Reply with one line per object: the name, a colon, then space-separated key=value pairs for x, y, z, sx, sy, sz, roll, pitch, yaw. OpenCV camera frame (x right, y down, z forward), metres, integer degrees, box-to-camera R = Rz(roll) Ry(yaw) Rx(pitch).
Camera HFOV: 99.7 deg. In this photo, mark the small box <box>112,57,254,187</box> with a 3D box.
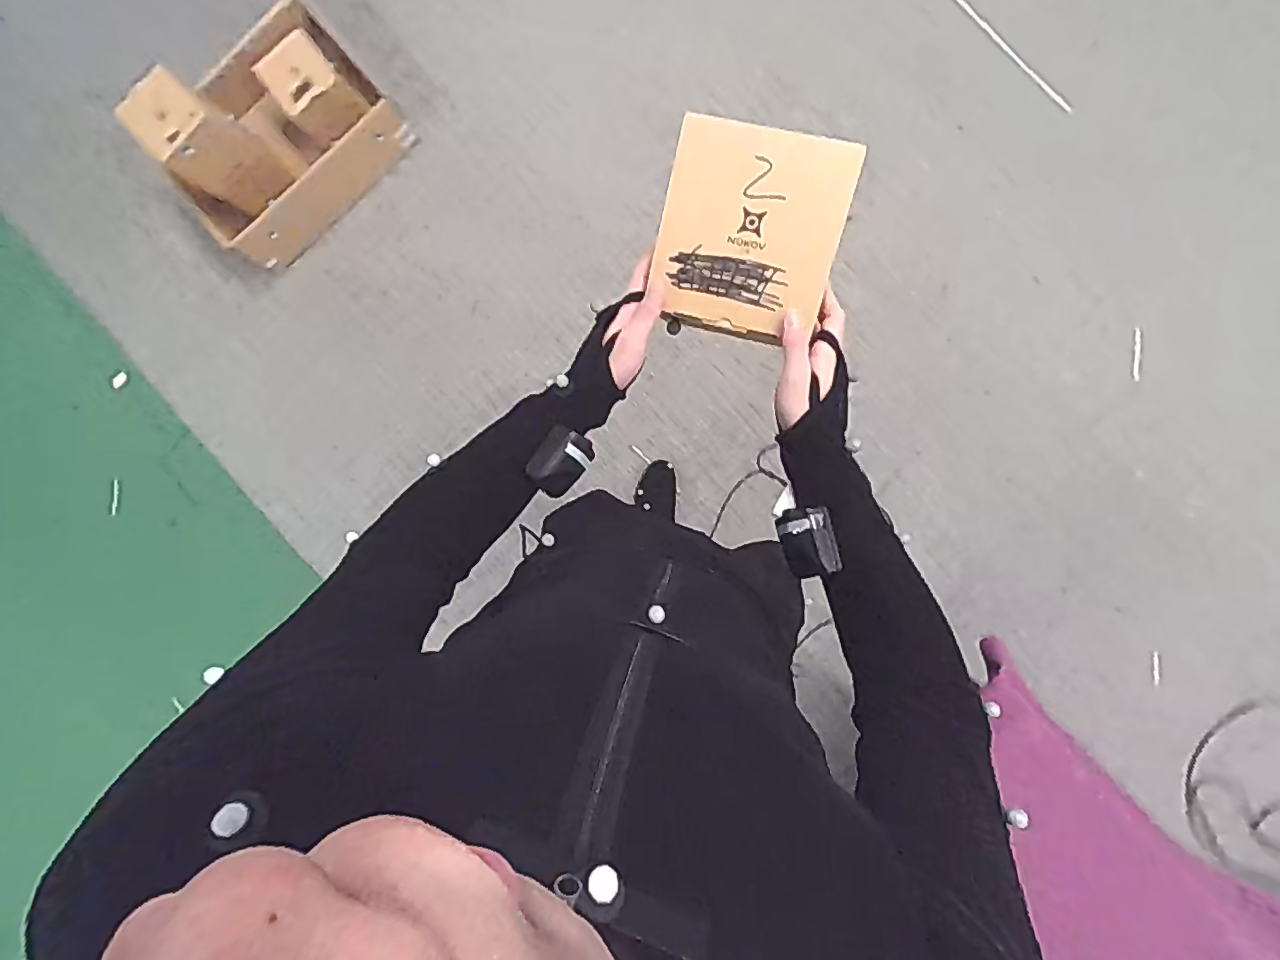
small box: x=-1.135 y=-0.884 z=1.357 sx=0.168 sy=0.176 sz=0.179 roll=-43 pitch=89 yaw=5
